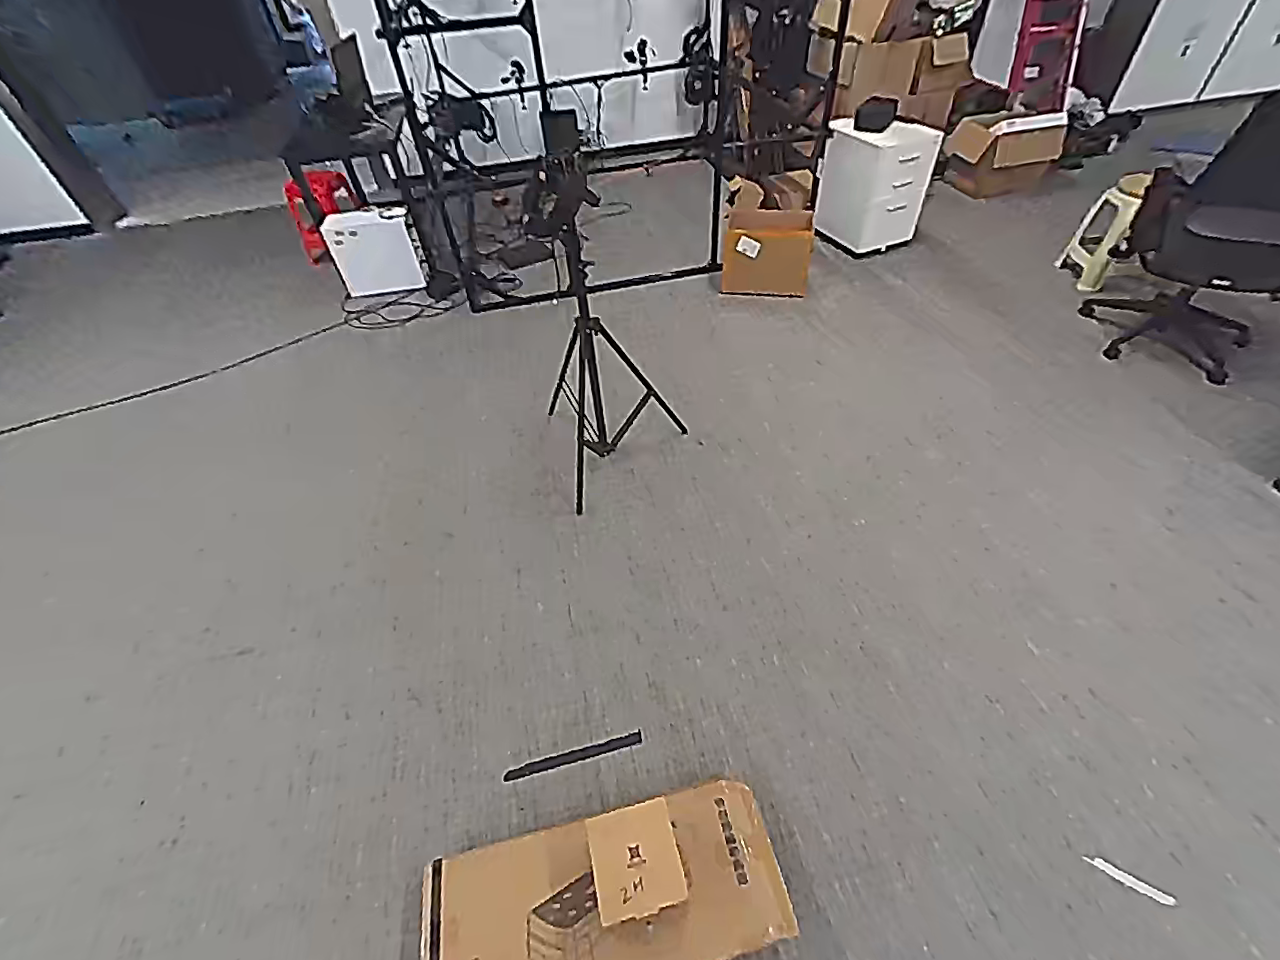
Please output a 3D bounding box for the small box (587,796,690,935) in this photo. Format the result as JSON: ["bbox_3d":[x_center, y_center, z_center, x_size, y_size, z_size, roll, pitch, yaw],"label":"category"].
[{"bbox_3d":[-0.004,0.770,1.080,0.168,0.176,0.179,-13,46,-7],"label":"small box"}]
